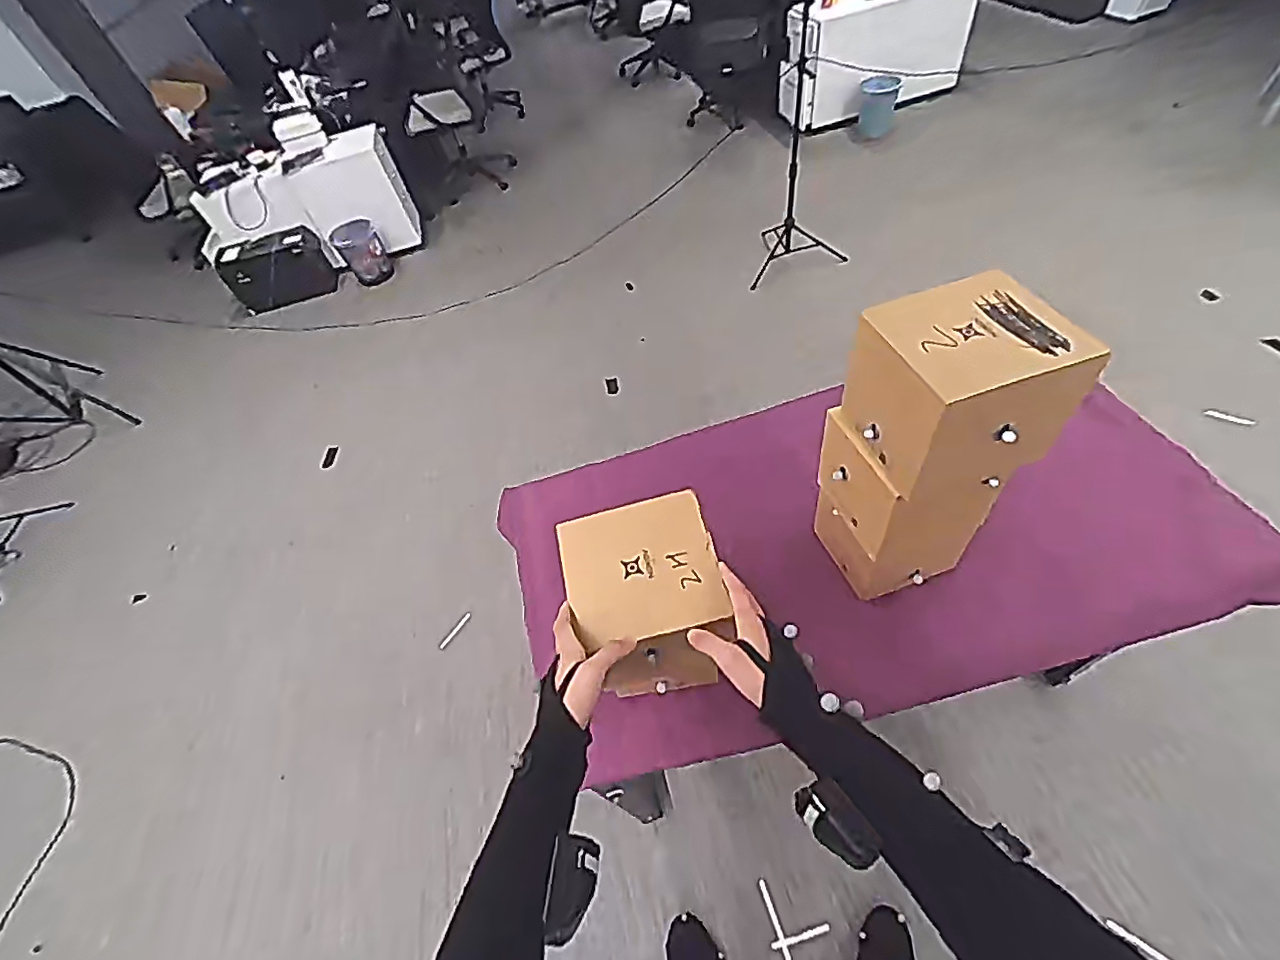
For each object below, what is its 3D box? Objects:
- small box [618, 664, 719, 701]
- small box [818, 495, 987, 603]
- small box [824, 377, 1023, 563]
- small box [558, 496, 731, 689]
[{"bbox_3d":[0.028,0.228,0.853,0.168,0.176,0.179,-10,52,3],"label":"small box"},{"bbox_3d":[0.416,0.076,0.894,0.179,0.176,0.168,-19,50,-5],"label":"small box"},{"bbox_3d":[0.375,-0.009,0.760,0.179,0.176,0.168,-19,51,-4],"label":"small box"},{"bbox_3d":[0.010,0.147,0.676,0.179,0.176,0.168,-13,57,-1],"label":"small box"}]
